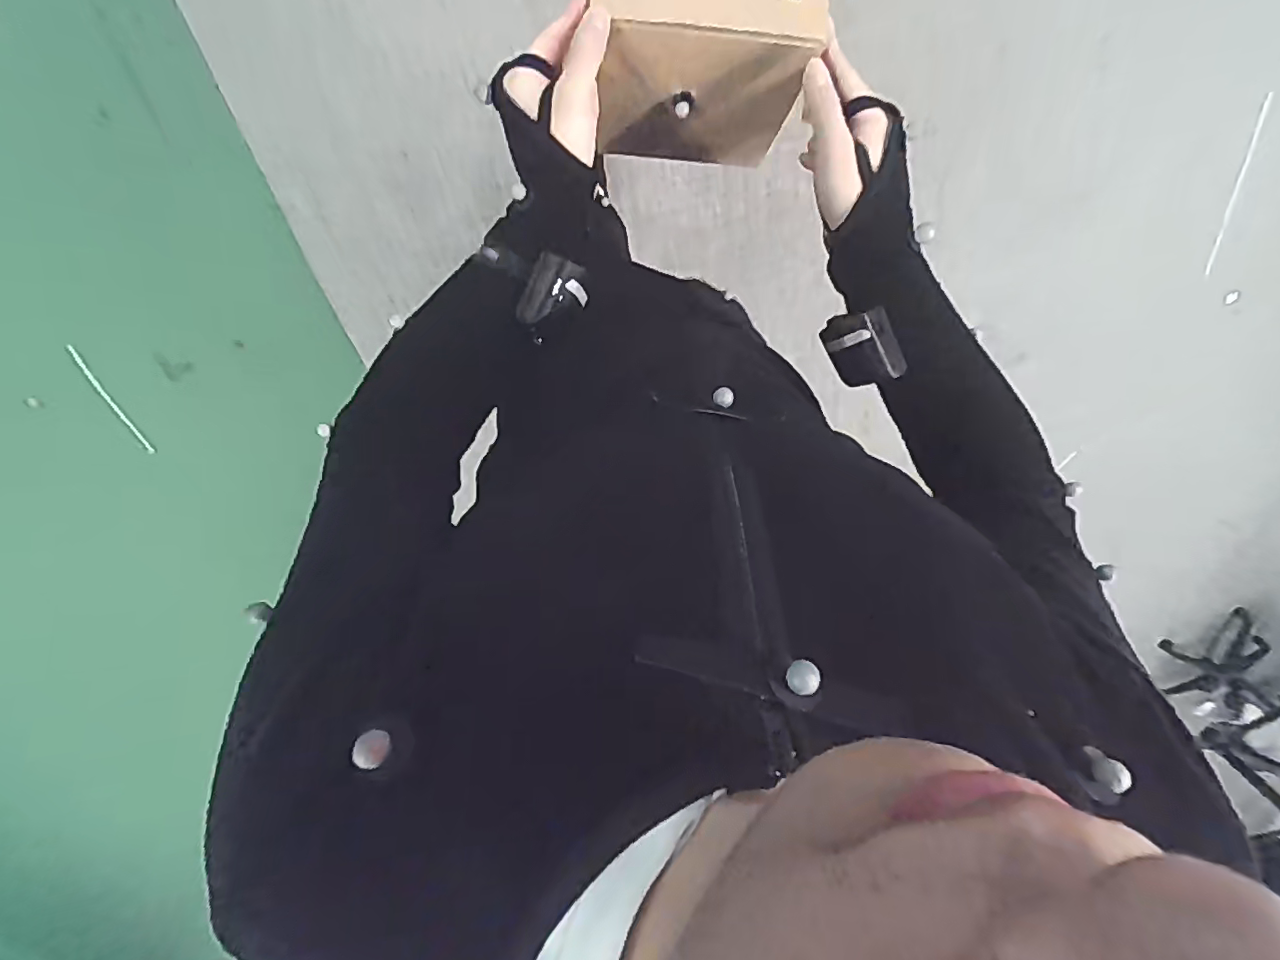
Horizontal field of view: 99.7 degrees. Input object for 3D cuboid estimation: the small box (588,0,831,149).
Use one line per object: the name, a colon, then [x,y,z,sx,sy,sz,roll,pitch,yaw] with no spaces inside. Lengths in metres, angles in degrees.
small box: [0.048,-0.412,0.459,0.179,0.176,0.168,2,91,-4]
